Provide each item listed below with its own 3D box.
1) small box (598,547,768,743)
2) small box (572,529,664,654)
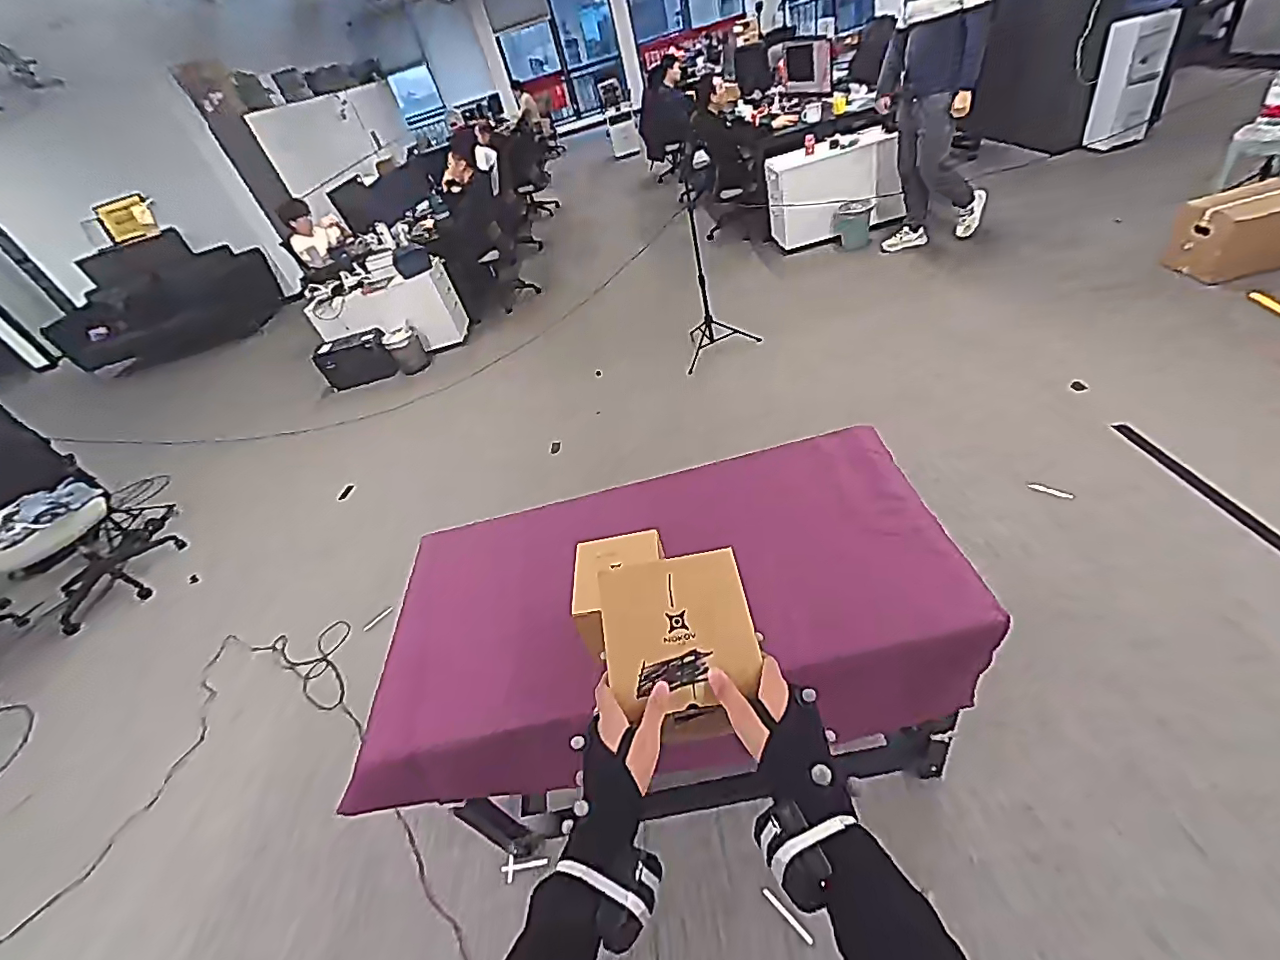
[{"bbox_3d":[0.049,0.208,0.658,0.168,0.176,0.179,-10,54,0],"label":"small box"},{"bbox_3d":[-0.025,0.226,1.061,0.168,0.176,0.179,-11,40,8],"label":"small box"}]
